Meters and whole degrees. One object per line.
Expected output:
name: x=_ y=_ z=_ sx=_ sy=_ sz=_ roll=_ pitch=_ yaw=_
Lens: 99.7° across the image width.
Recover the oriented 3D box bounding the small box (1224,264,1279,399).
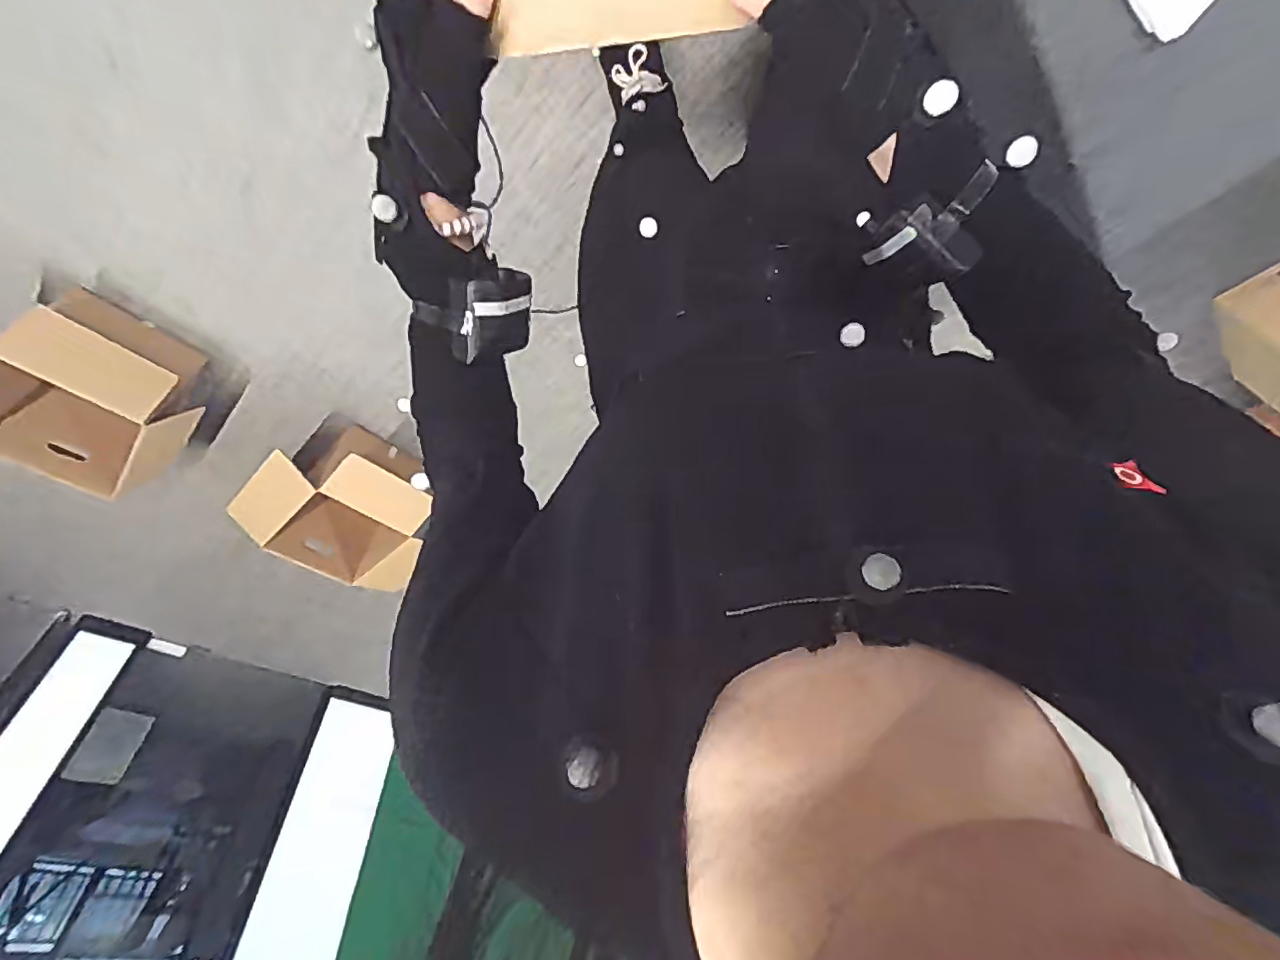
small box: x=0.824 y=-0.170 z=0.608 sx=0.179 sy=0.176 sz=0.168 roll=32 pitch=127 yaw=-31
